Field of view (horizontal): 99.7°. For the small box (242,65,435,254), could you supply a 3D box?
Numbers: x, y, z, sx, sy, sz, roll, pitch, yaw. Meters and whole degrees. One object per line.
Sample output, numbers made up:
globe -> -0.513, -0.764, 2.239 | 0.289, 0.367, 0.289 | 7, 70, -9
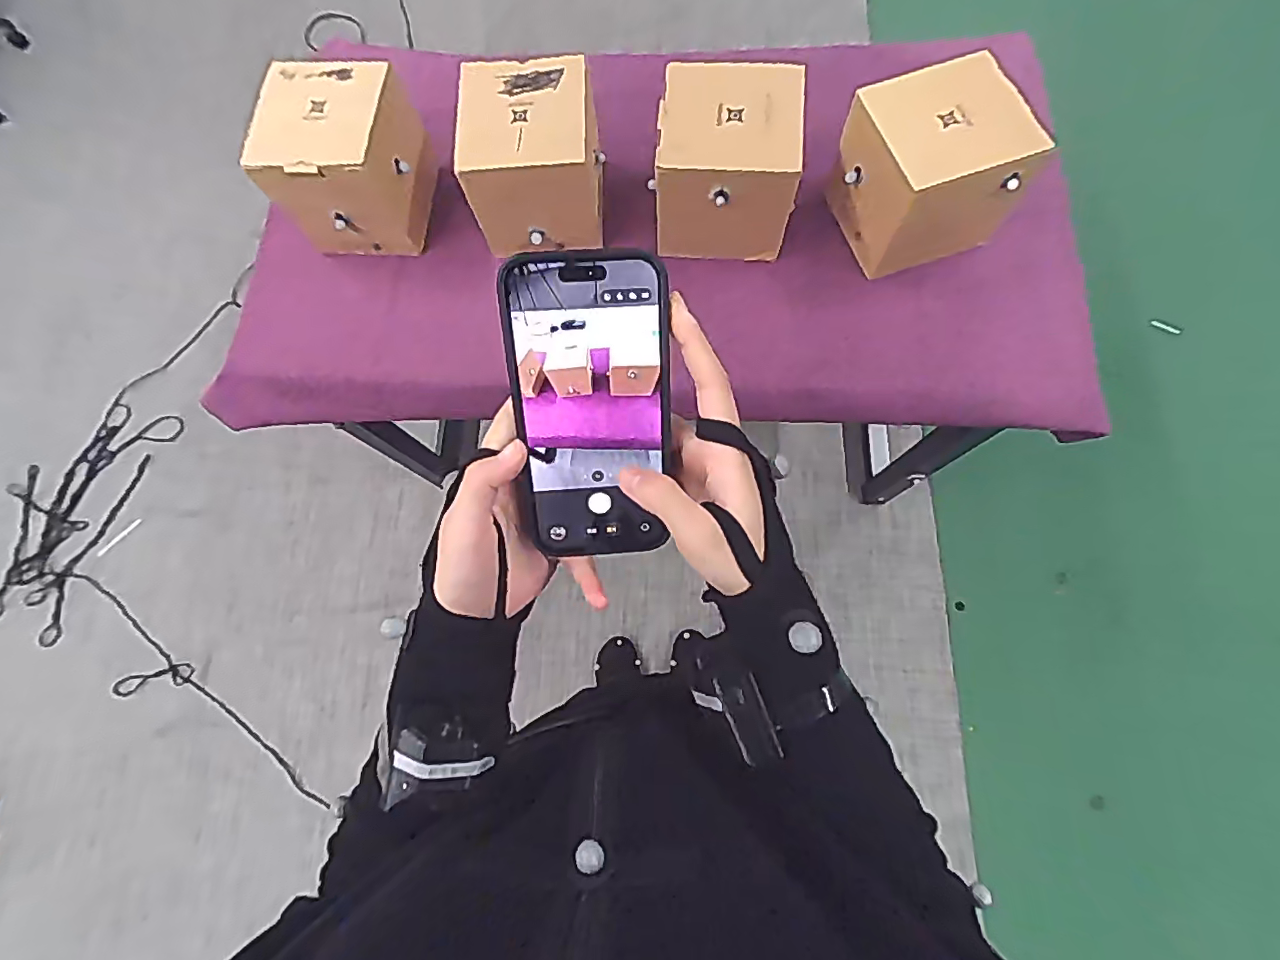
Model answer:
small box -> -0.416, -0.449, 0.779 | 0.168, 0.176, 0.179 | 3, 75, 4

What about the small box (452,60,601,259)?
small box -> -0.148, -0.441, 0.761 | 0.168, 0.176, 0.179 | -2, 75, 3

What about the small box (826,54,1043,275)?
small box -> 0.367, -0.407, 0.721 | 0.179, 0.176, 0.168 | -18, 73, -2

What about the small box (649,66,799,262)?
small box -> 0.110, -0.423, 0.742 | 0.179, 0.176, 0.168 | 5, 75, 4
